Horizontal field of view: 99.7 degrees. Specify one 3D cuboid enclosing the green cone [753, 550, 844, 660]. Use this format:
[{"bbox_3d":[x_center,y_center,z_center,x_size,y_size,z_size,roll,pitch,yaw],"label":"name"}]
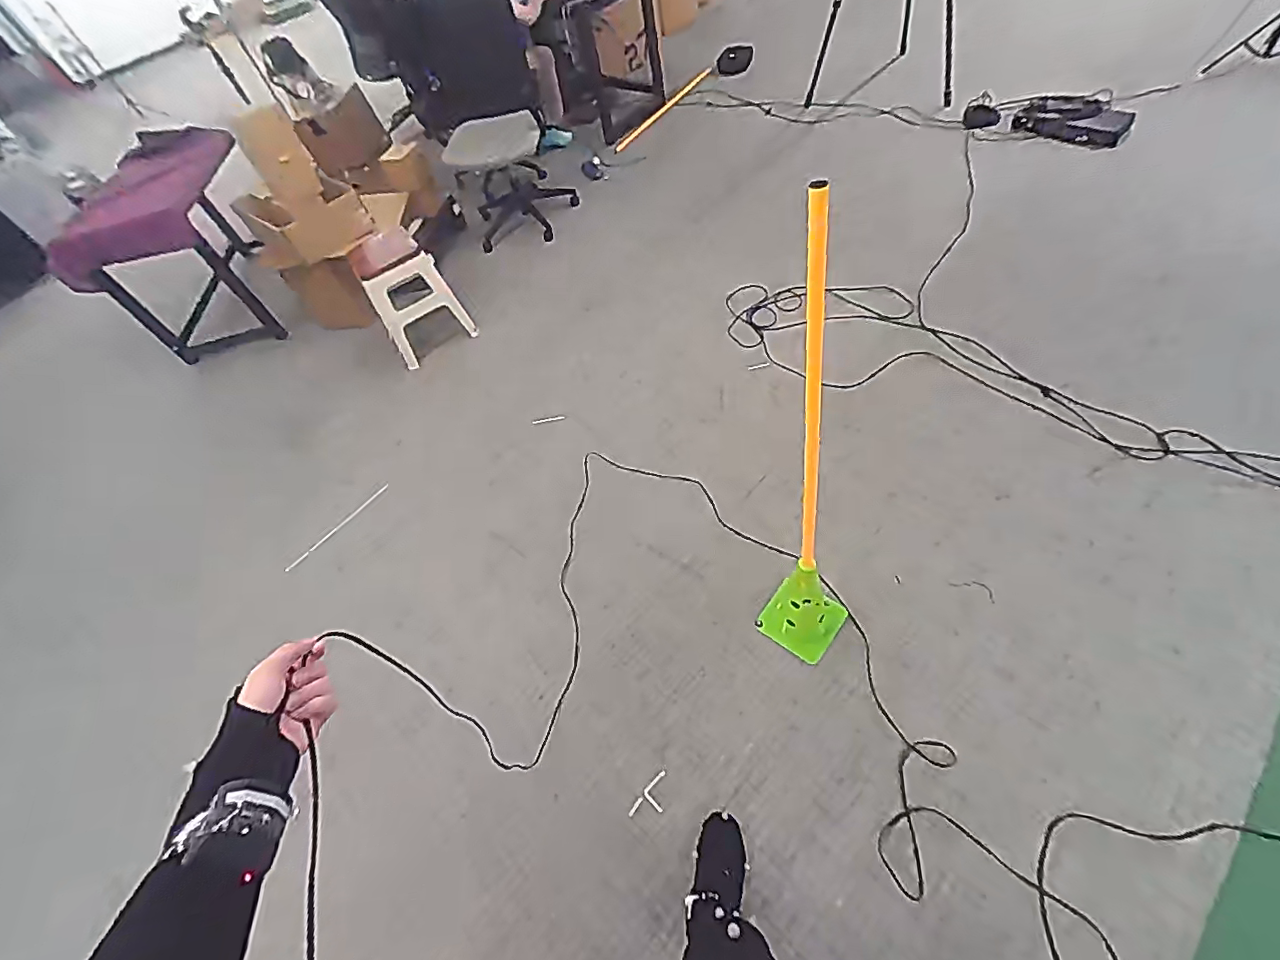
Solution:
[{"bbox_3d":[0.426,0.291,1.419,0.200,0.368,0.202,29,65,29],"label":"green cone"}]
